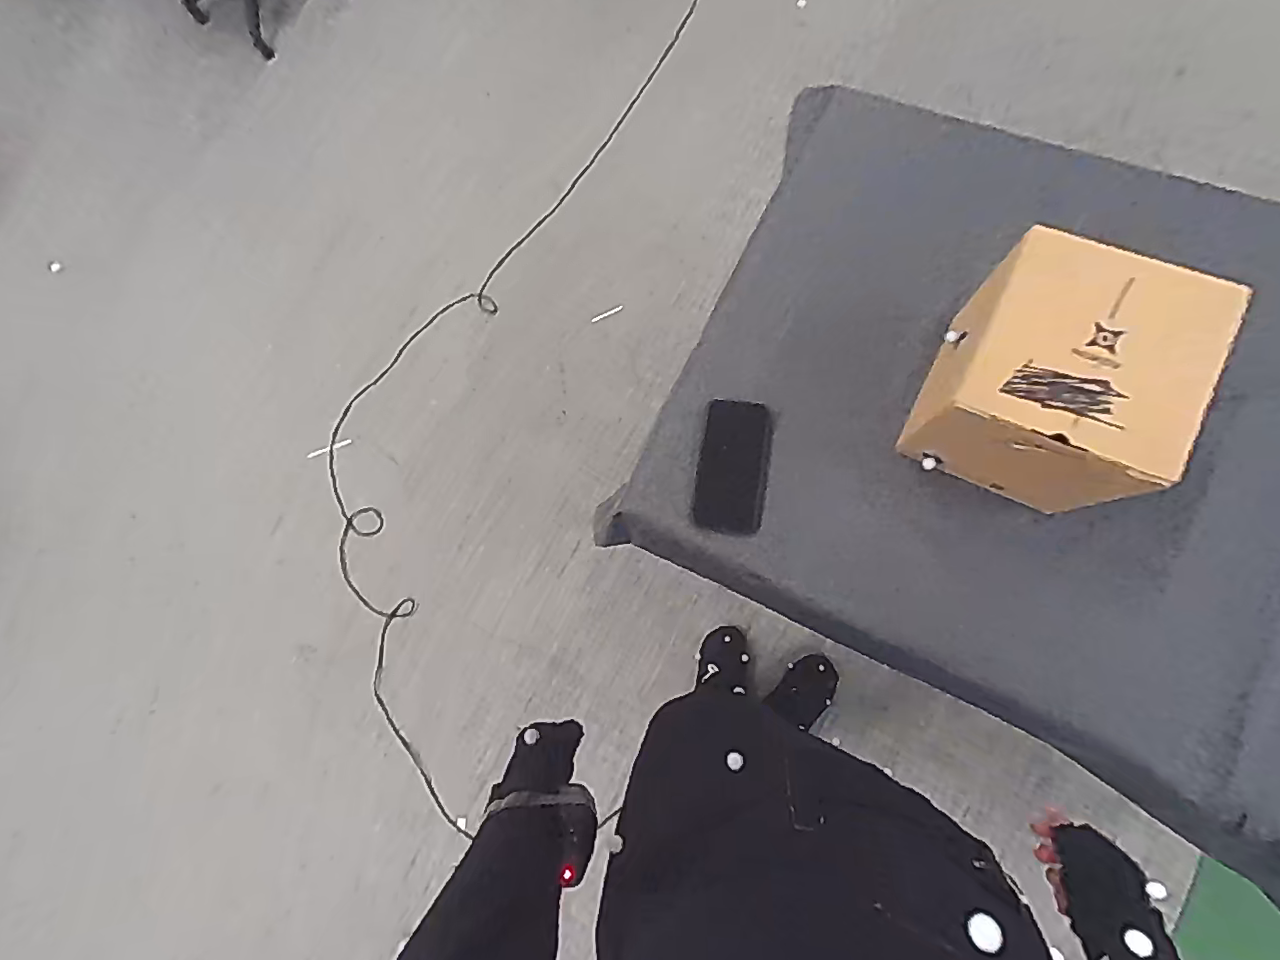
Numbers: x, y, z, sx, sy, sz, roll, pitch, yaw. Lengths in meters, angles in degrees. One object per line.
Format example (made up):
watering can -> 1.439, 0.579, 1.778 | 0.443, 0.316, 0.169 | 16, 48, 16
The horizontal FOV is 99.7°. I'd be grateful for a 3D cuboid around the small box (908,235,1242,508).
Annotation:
small box -> 0.385, -0.088, 0.519 | 0.168, 0.176, 0.179 | 26, 83, 13
